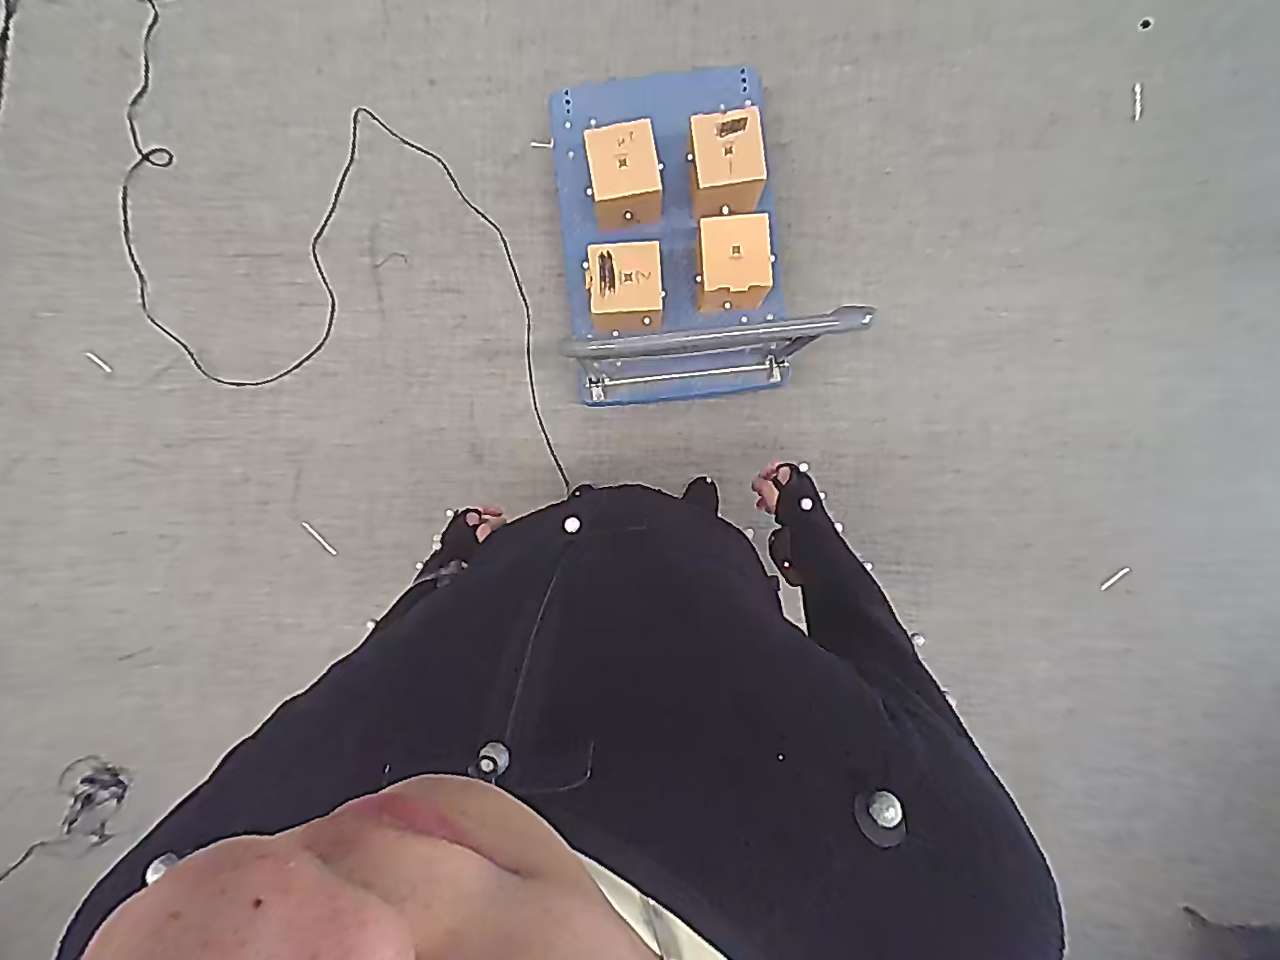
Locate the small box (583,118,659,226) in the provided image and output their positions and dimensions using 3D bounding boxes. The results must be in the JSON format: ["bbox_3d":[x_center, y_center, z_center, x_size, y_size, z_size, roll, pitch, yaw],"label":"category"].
[{"bbox_3d":[-0.043,-0.768,1.370,0.168,0.176,0.179,-9,91,0],"label":"small box"}]

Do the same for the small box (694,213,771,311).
[{"bbox_3d":[0.229,-0.546,1.371,0.168,0.176,0.179,-4,90,1],"label":"small box"}]

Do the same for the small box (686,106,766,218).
[{"bbox_3d":[0.211,-0.794,1.364,0.168,0.176,0.179,-7,91,2],"label":"small box"}]
